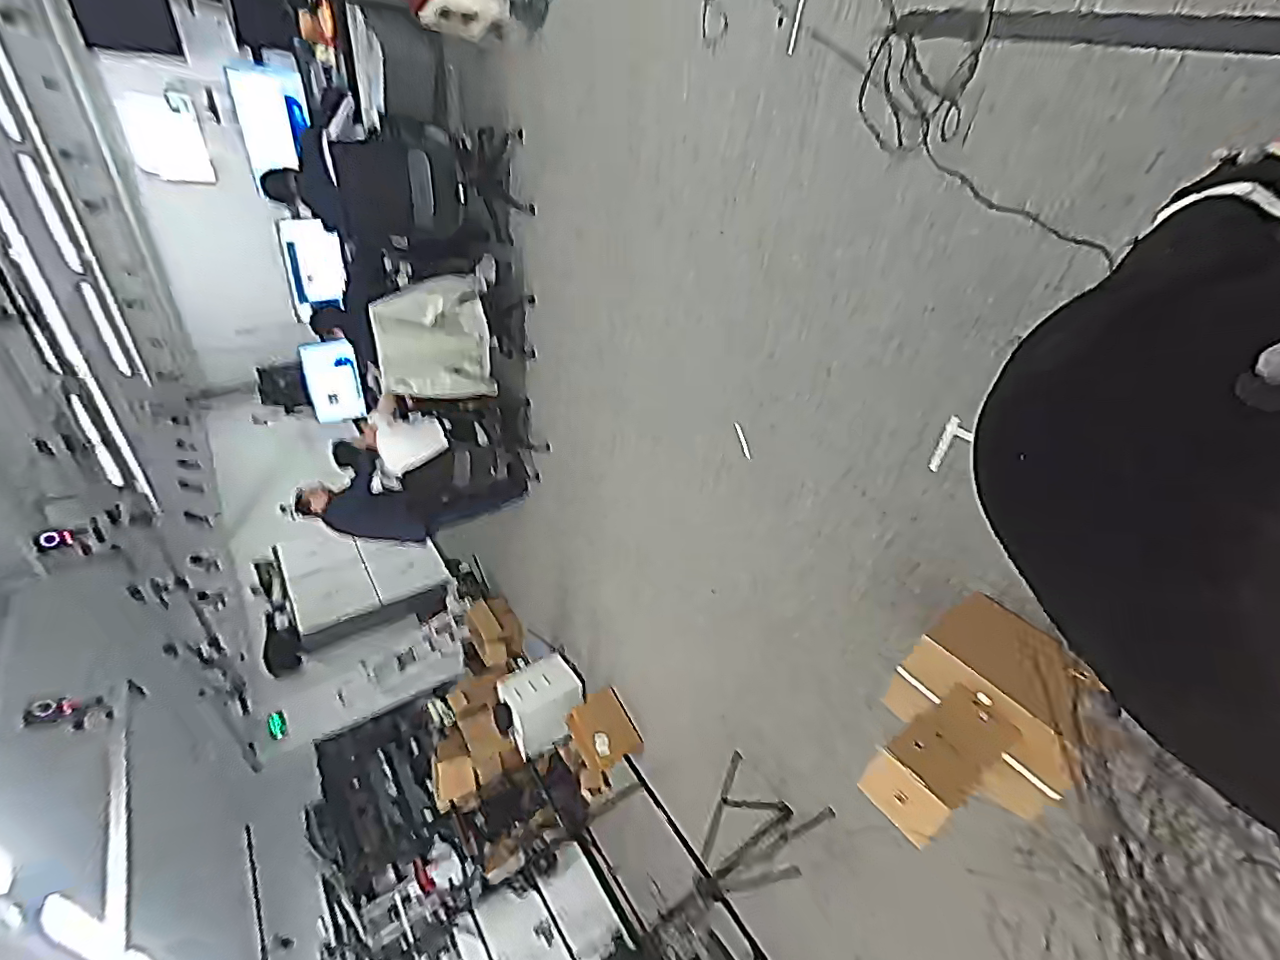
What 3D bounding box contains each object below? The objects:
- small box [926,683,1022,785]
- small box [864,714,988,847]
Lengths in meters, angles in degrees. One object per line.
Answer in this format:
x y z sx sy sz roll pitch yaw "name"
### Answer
0.786 0.638 1.321 0.168 0.176 0.179 40 136 39 "small box"
0.653 0.675 1.234 0.168 0.176 0.179 40 137 41 "small box"
